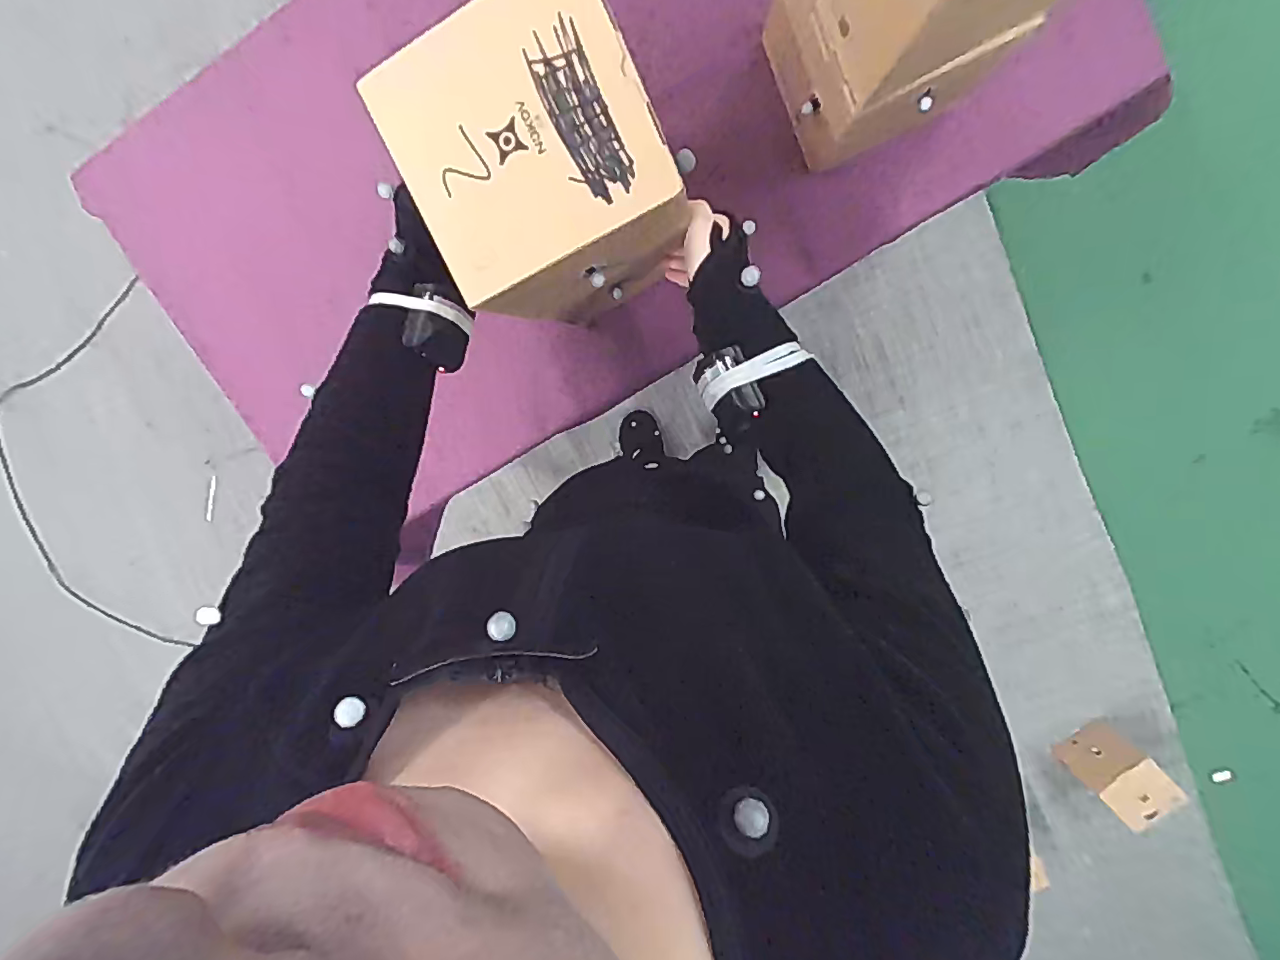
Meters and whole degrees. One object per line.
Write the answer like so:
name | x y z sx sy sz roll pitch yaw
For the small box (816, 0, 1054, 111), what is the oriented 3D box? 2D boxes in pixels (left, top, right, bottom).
small box | 0.234 -0.422 0.398 0.179 0.176 0.168 -25 100 8

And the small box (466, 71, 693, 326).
small box | -0.051 -0.287 0.603 0.179 0.176 0.168 -27 98 12

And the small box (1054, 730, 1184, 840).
small box | 1.314 0.831 1.499 0.168 0.176 0.179 -44 96 10

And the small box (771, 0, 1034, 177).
small box | 0.247 -0.450 0.558 0.179 0.176 0.168 -22 100 8
